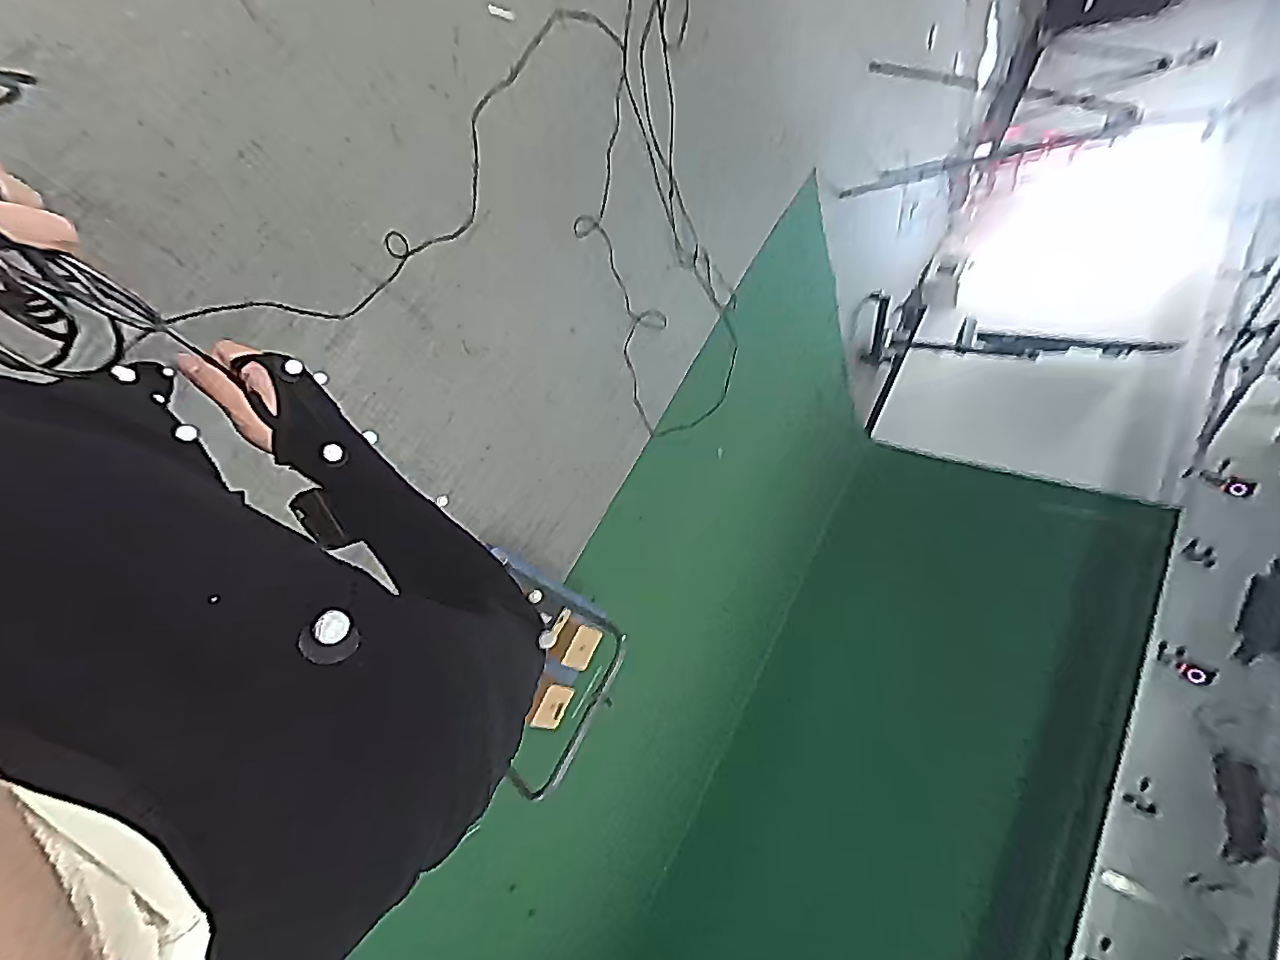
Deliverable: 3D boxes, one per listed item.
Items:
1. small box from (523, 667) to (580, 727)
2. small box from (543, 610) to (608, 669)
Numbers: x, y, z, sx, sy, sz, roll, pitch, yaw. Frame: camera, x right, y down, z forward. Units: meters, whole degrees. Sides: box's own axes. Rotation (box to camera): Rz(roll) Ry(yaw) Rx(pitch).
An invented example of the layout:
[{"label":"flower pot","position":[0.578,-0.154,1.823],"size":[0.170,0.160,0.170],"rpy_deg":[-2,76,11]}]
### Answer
[{"label":"small box","position":[-0.385,0.882,2.205],"size":[0.179,0.176,0.168],"rpy_deg":[42,71,-50]},{"label":"small box","position":[-0.273,0.662,2.256],"size":[0.179,0.176,0.168],"rpy_deg":[42,72,-51]}]
